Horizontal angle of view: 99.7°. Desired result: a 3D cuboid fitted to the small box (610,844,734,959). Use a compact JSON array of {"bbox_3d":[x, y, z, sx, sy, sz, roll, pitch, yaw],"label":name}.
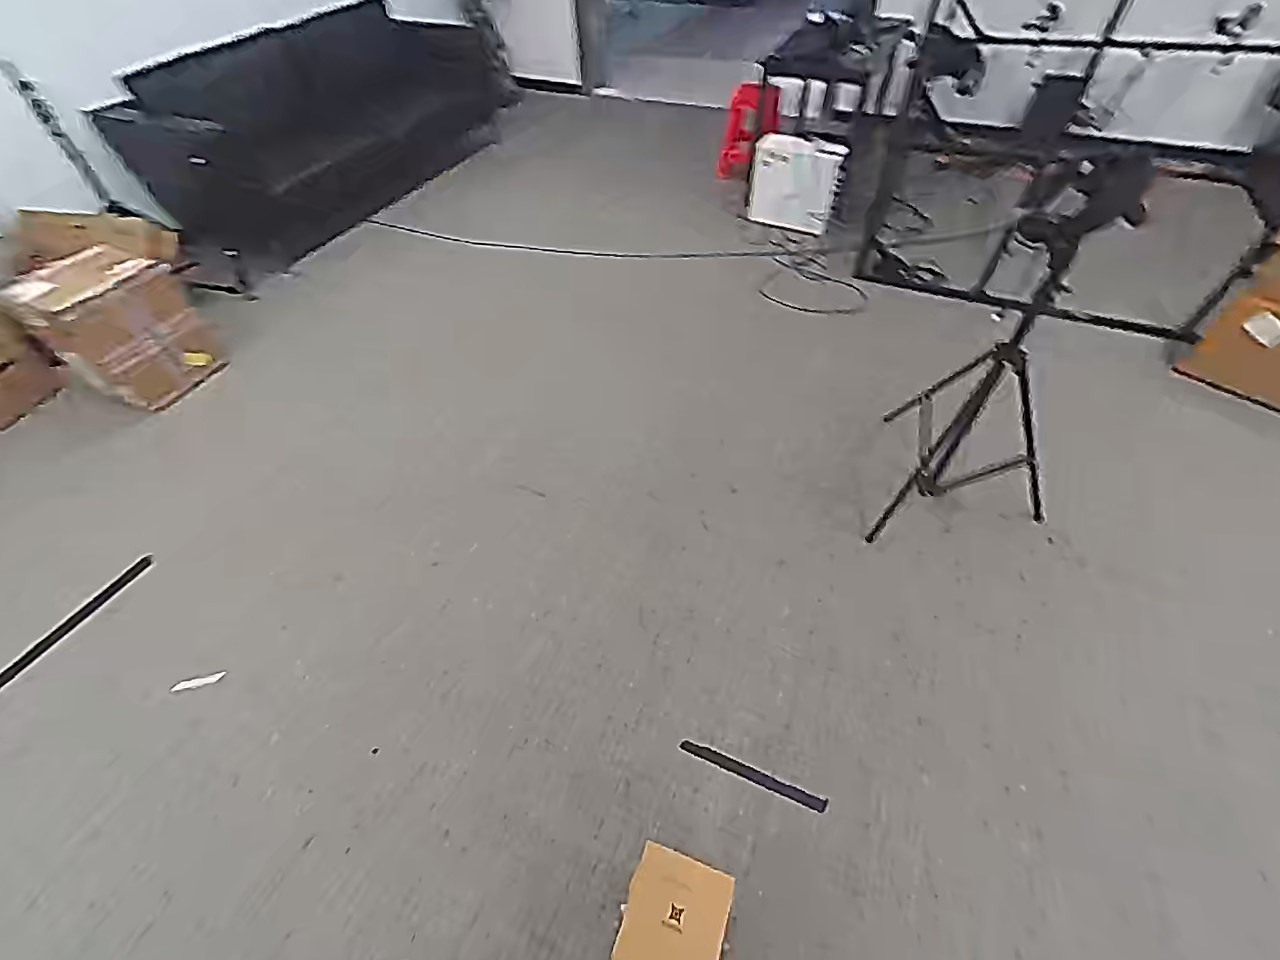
[{"bbox_3d":[0.058,0.784,0.954,0.168,0.176,0.179,16,50,14],"label":"small box"}]
